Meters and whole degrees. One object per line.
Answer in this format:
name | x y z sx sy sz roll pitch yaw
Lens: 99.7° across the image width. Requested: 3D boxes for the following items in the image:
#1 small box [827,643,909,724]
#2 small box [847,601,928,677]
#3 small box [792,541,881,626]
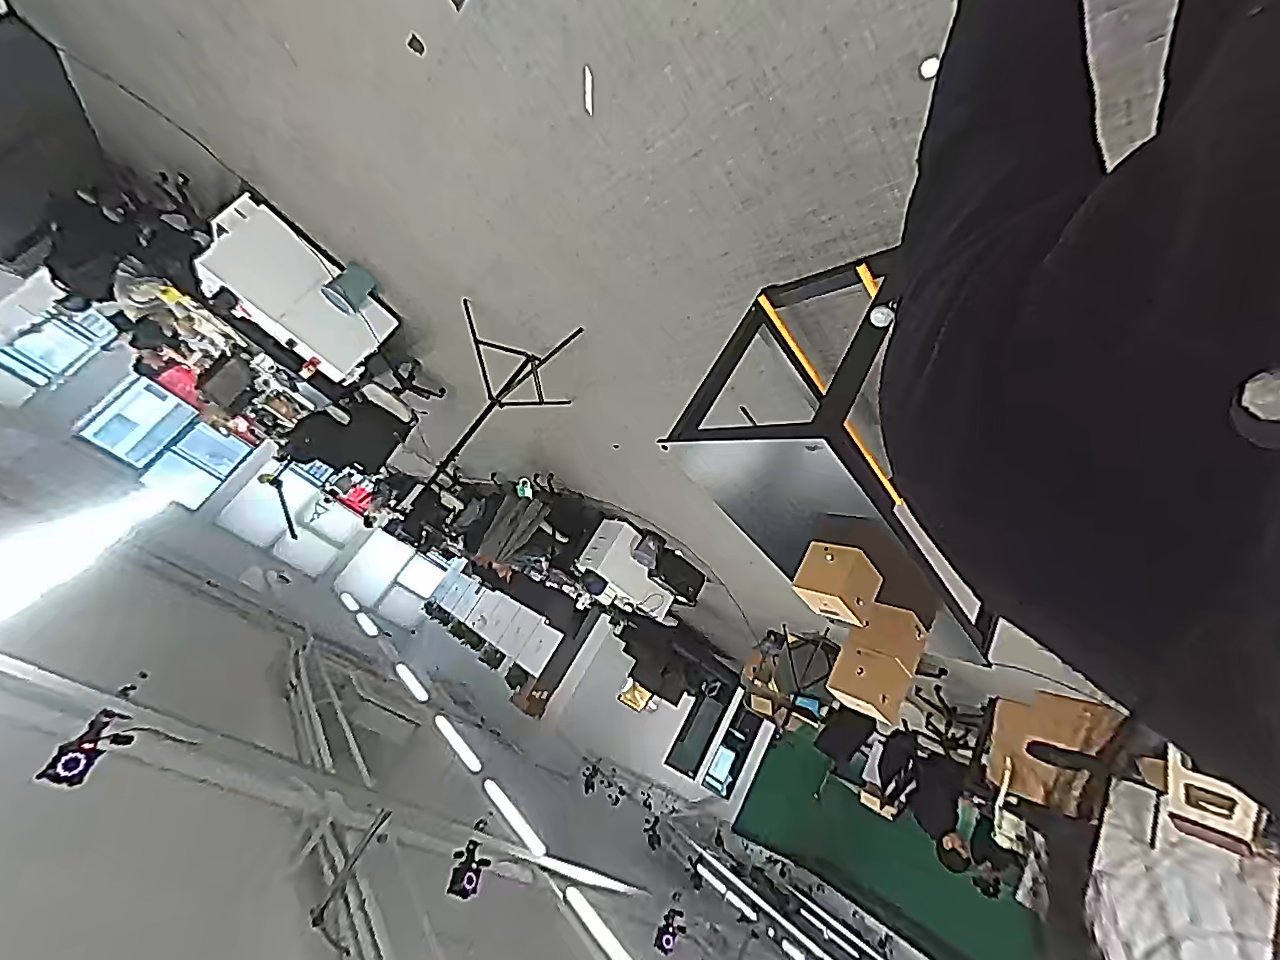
small box | 0.748 0.660 1.768 0.168 0.176 0.179 8 150 51
small box | 0.832 0.525 1.814 0.179 0.176 0.168 6 148 51
small box | 0.601 0.309 1.639 0.179 0.176 0.168 45 157 -30
